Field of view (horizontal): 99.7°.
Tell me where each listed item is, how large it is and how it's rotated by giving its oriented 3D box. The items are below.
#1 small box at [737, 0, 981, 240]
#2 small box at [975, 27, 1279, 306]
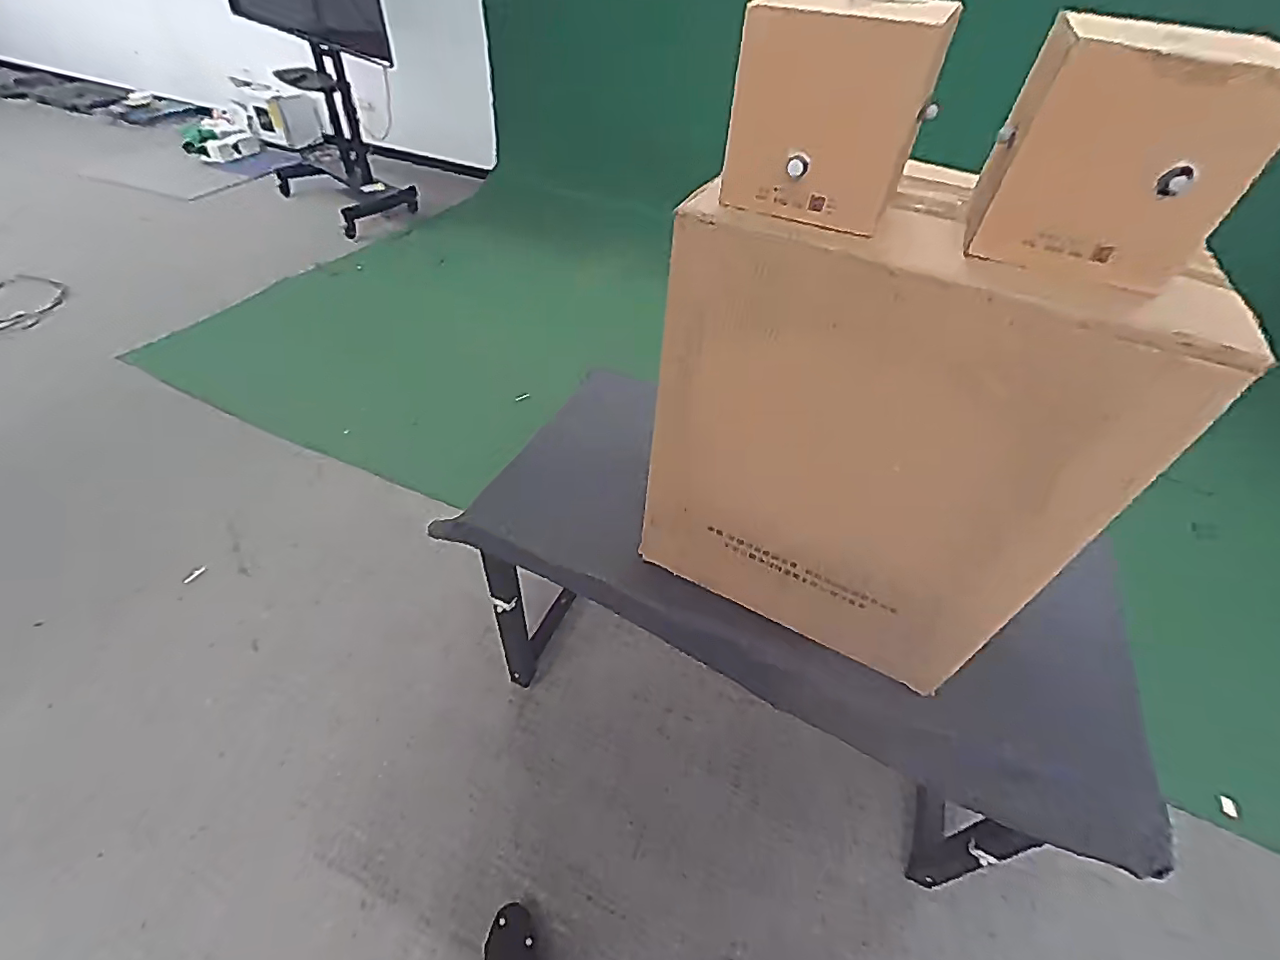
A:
[{"bbox_3d":[0.211,-0.372,0.548,0.168,0.176,0.179,24,50,18],"label":"small box"},{"bbox_3d":[0.438,-0.287,0.498,0.168,0.176,0.179,22,49,11],"label":"small box"}]
